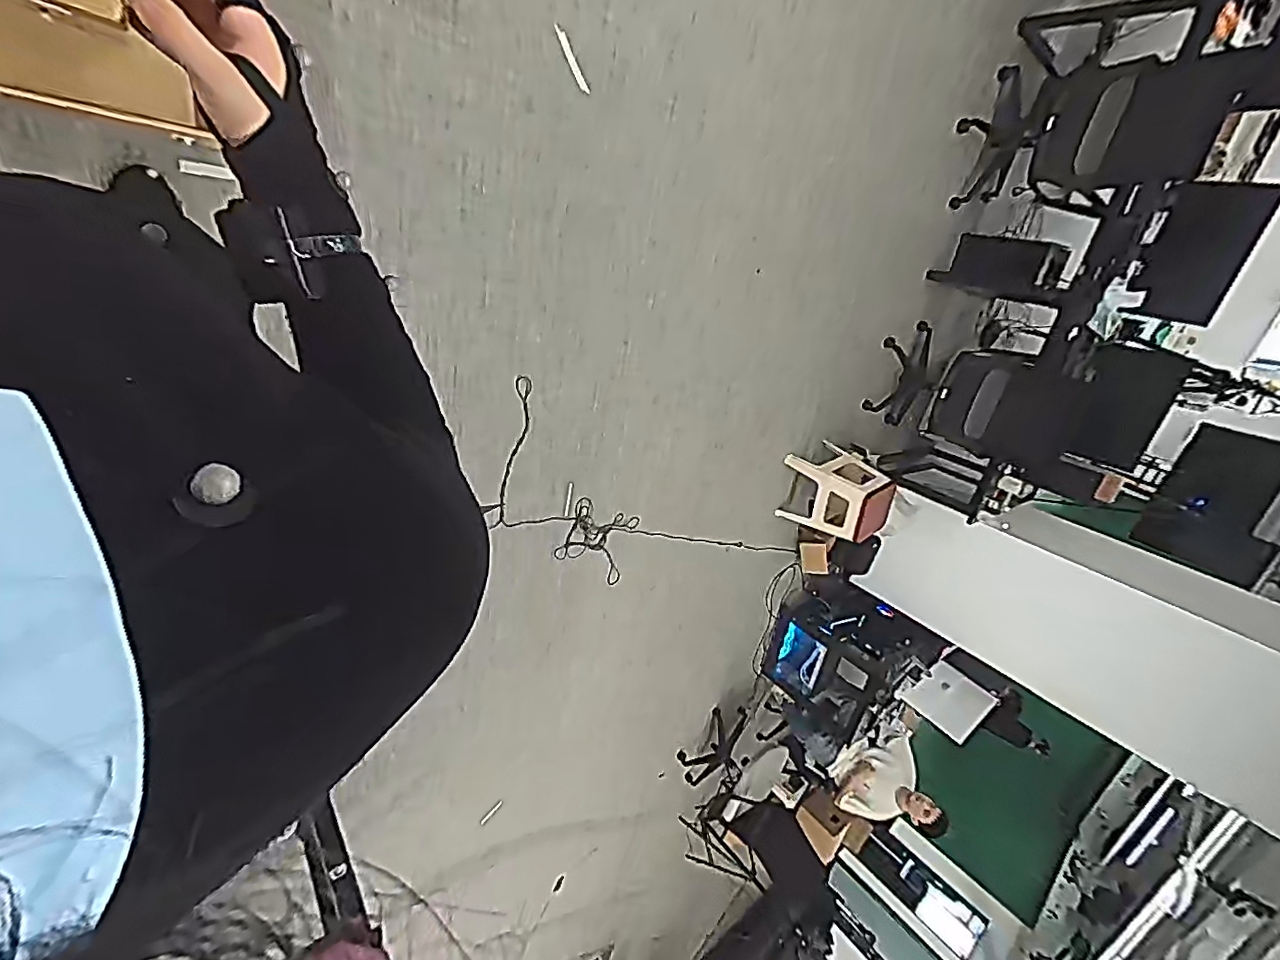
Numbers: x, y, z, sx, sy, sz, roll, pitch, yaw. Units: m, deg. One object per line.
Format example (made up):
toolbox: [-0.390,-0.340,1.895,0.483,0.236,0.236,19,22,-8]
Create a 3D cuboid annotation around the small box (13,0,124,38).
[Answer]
small box: [-0.855,-0.781,0.772,0.168,0.176,0.179,-3,116,-42]
